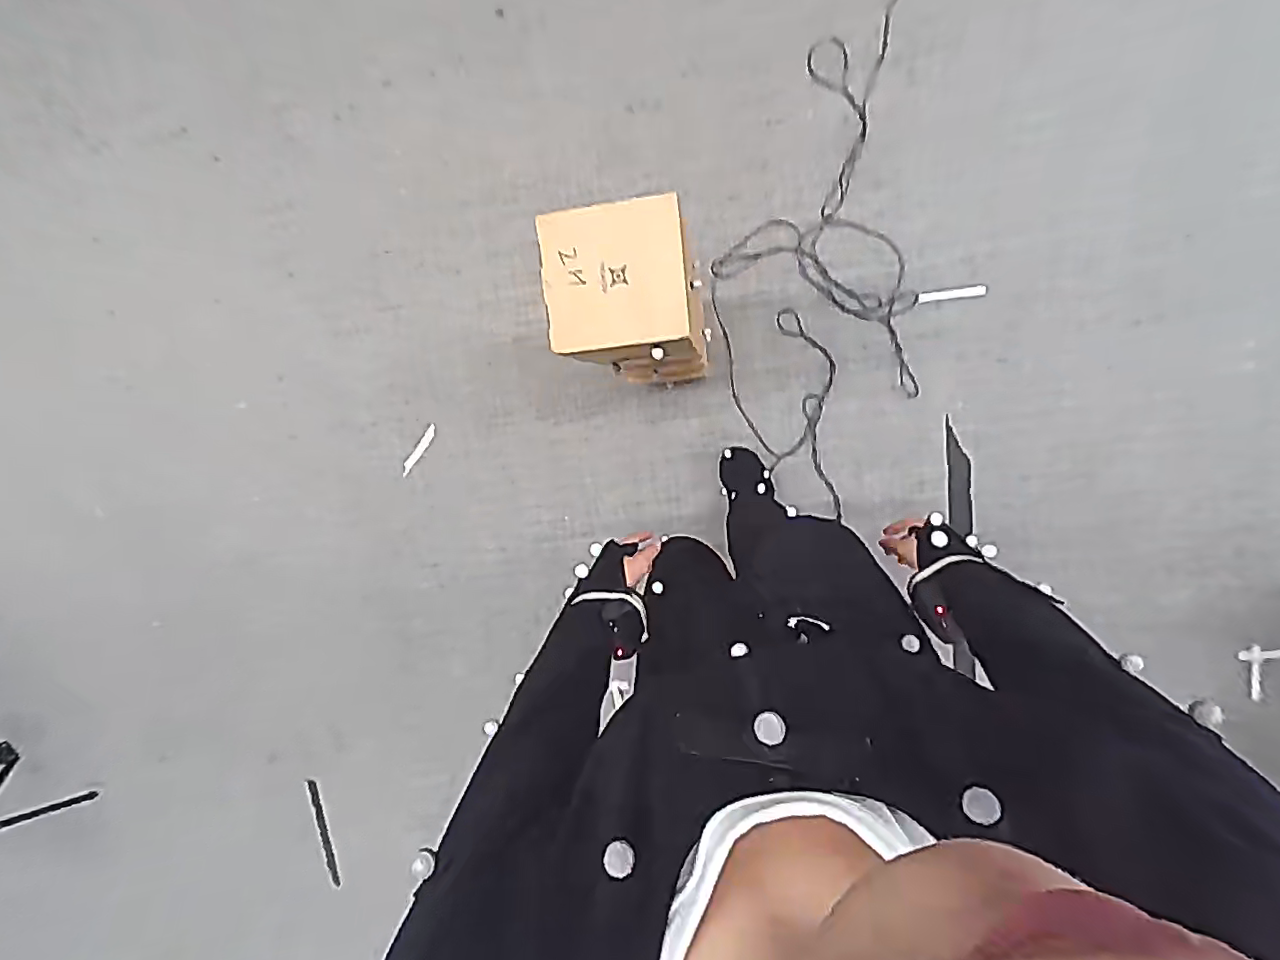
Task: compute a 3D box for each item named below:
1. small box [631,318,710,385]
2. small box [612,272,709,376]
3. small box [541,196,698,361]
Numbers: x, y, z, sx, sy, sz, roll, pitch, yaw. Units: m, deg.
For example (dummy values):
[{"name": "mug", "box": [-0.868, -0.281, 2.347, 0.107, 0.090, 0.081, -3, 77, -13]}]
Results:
[{"name": "small box", "box": [0.067, -0.308, 1.208, 0.168, 0.176, 0.179, -4, 99, 11]}, {"name": "small box", "box": [0.041, -0.293, 1.048, 0.179, 0.176, 0.168, -5, 98, 11]}, {"name": "small box", "box": [-0.015, -0.255, 0.725, 0.179, 0.176, 0.168, -4, 97, 11]}]
